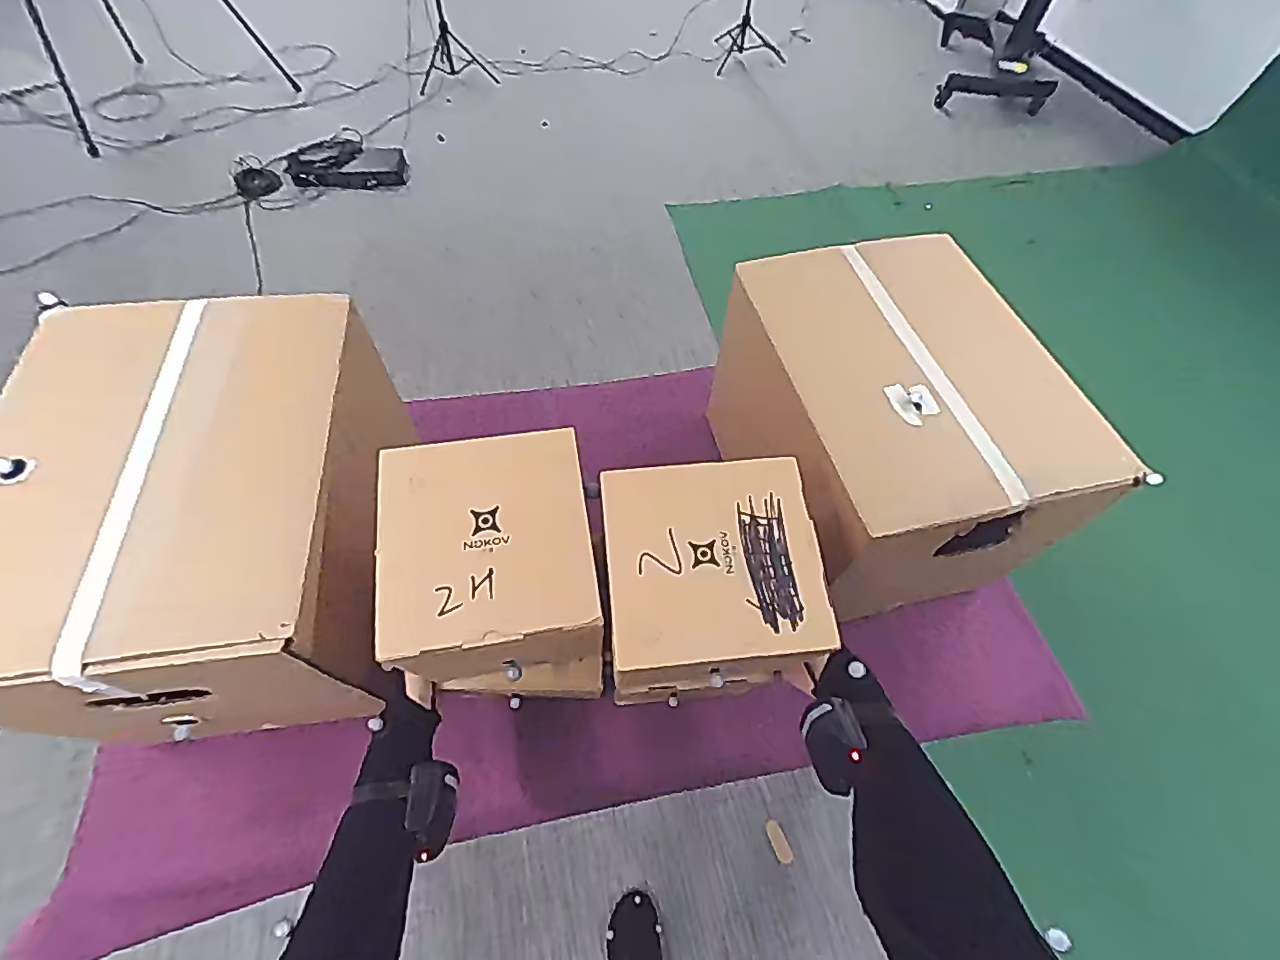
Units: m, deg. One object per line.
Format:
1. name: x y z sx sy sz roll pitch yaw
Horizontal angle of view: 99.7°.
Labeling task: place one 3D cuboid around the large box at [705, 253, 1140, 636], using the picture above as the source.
1. large box: 0.311 -0.047 0.753 0.320 0.320 0.408 -11 59 -8

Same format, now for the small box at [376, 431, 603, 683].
1. small box: -0.128 0.077 0.504 0.168 0.176 0.179 -7 64 -8
